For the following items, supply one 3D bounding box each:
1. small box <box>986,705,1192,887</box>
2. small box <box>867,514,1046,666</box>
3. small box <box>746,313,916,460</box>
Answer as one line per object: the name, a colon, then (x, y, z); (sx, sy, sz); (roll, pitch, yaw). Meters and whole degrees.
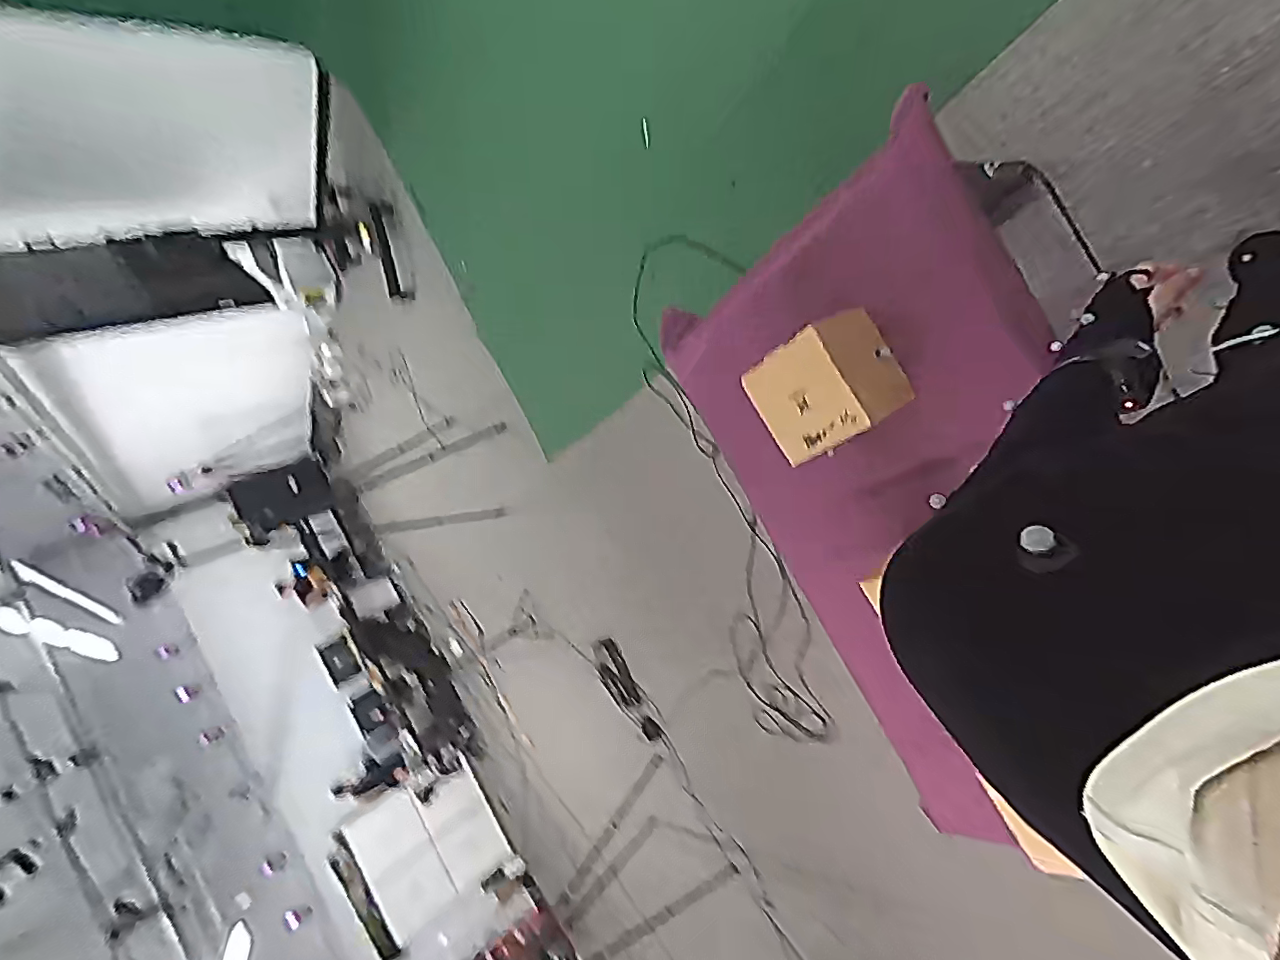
small box: (0.693, 0.472, 0.837); (0.168, 0.176, 0.179); (58, 143, 7)
small box: (0.515, 0.175, 0.875); (0.168, 0.176, 0.179); (59, 144, 6)
small box: (0.320, -0.162, 0.907); (0.179, 0.176, 0.168); (60, 143, 4)
